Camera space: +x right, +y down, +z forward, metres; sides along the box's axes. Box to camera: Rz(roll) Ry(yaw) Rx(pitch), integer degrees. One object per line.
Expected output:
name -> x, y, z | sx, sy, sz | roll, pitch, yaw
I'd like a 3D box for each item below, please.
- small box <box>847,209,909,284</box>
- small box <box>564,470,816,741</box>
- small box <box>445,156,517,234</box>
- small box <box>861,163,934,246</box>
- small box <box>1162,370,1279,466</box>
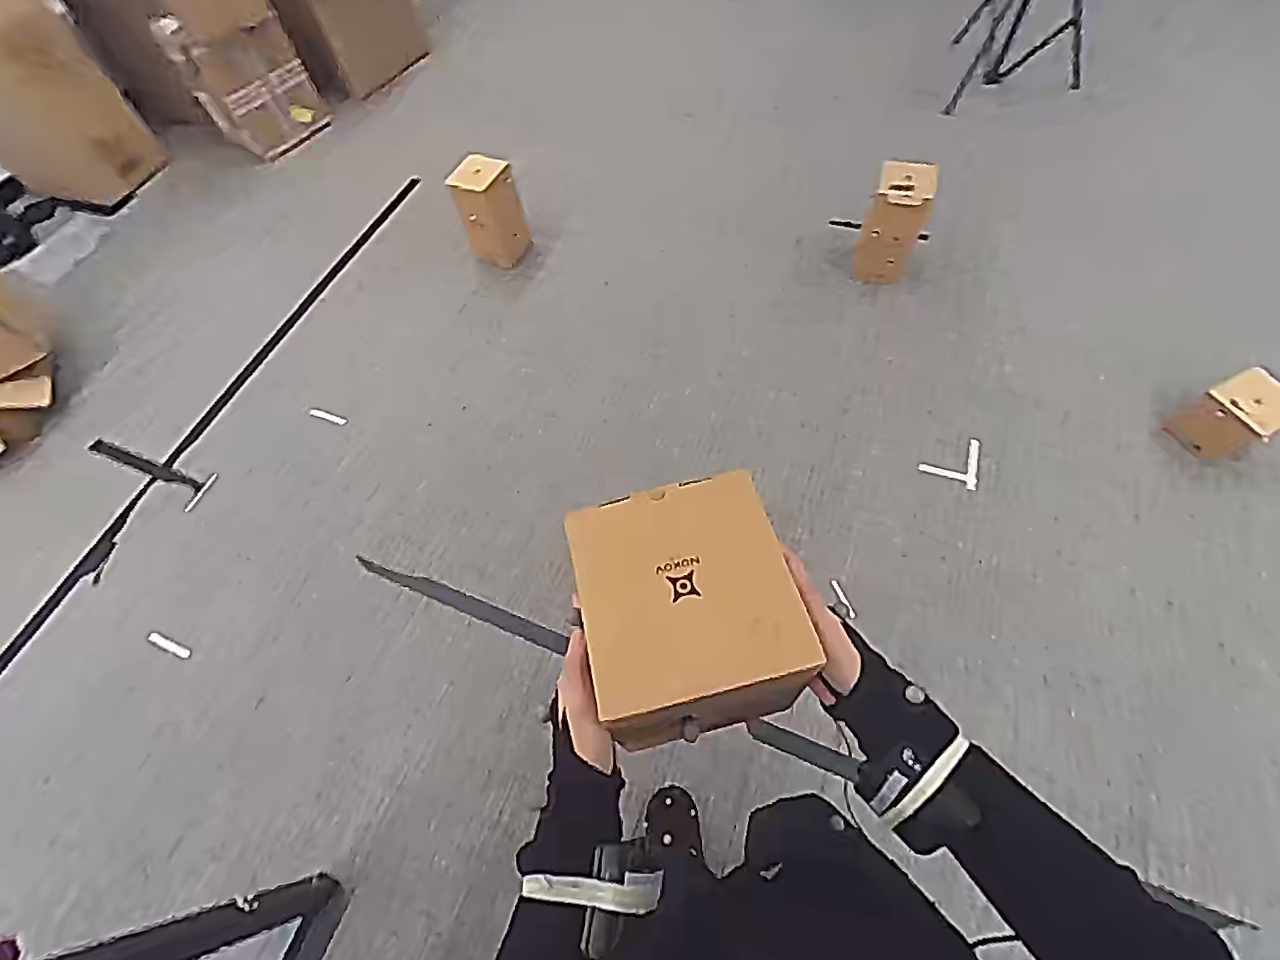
small box -> 0.844, -0.821, 1.912 | 0.168, 0.176, 0.179 | 14, 63, 11
small box -> 0.038, 0.122, 0.489 | 0.168, 0.176, 0.179 | -13, 56, -3
small box -> -0.565, -1.031, 1.960 | 0.168, 0.176, 0.179 | 21, 67, 16
small box -> 0.836, -0.896, 1.765 | 0.168, 0.176, 0.179 | 14, 64, 12
small box -> 1.630, -0.168, 1.498 | 0.179, 0.176, 0.168 | -24, 64, -7
